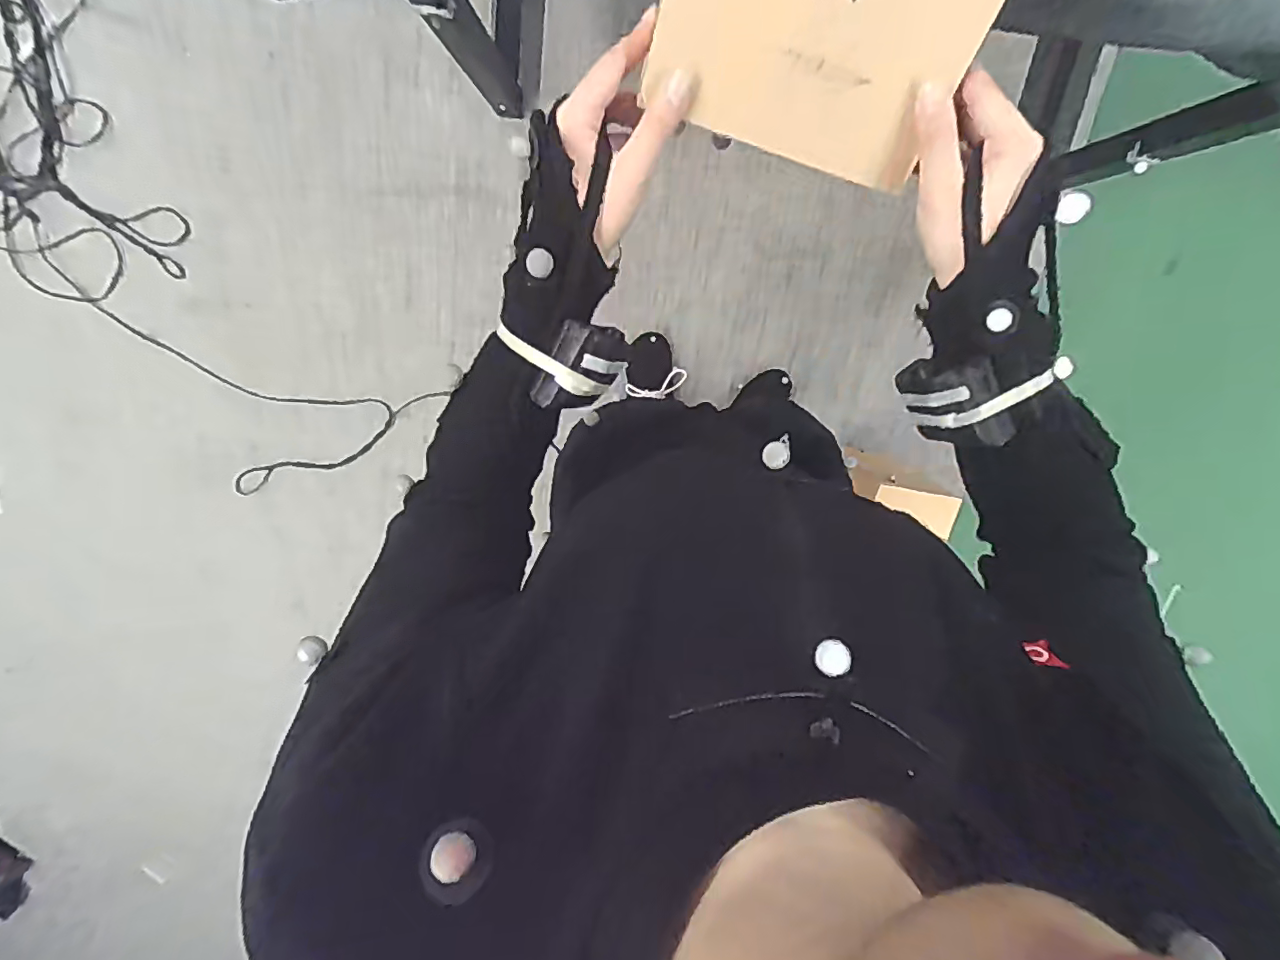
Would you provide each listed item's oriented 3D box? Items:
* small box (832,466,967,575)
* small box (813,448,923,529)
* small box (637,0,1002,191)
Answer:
[{"bbox_3d":[0.537,0.078,1.145,0.179,0.176,0.168,10,107,-2],"label":"small box"},{"bbox_3d":[0.536,0.027,1.301,0.179,0.176,0.168,9,107,-1],"label":"small box"},{"bbox_3d":[0.099,-0.302,0.314,0.168,0.176,0.179,13,128,-9],"label":"small box"}]
